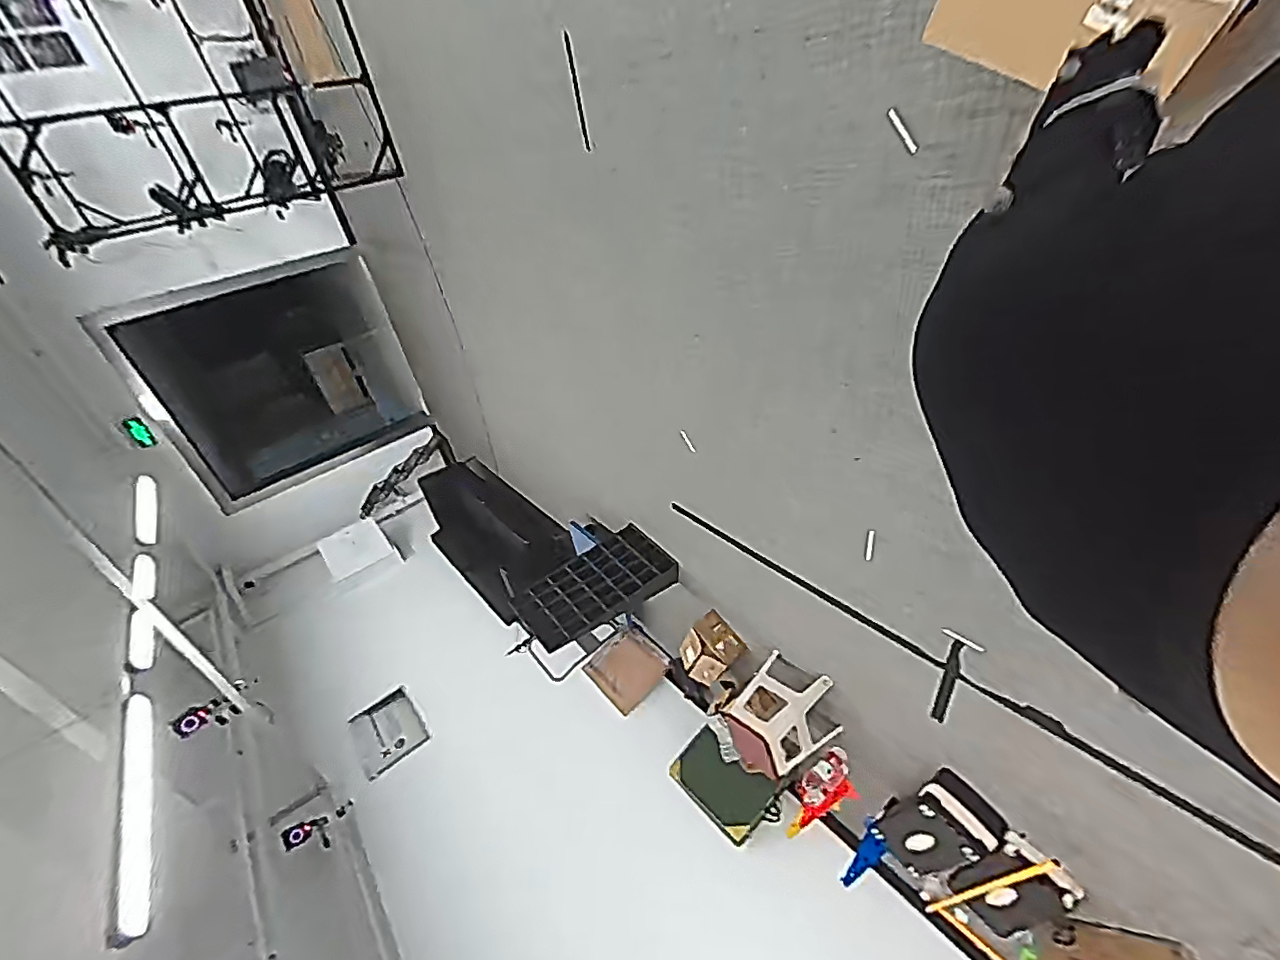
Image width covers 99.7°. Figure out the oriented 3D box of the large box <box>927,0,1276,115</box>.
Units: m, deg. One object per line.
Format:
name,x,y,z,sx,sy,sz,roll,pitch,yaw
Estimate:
large box,0.768,-0.833,0.841,0.408,0.320,0.320,45,151,23
